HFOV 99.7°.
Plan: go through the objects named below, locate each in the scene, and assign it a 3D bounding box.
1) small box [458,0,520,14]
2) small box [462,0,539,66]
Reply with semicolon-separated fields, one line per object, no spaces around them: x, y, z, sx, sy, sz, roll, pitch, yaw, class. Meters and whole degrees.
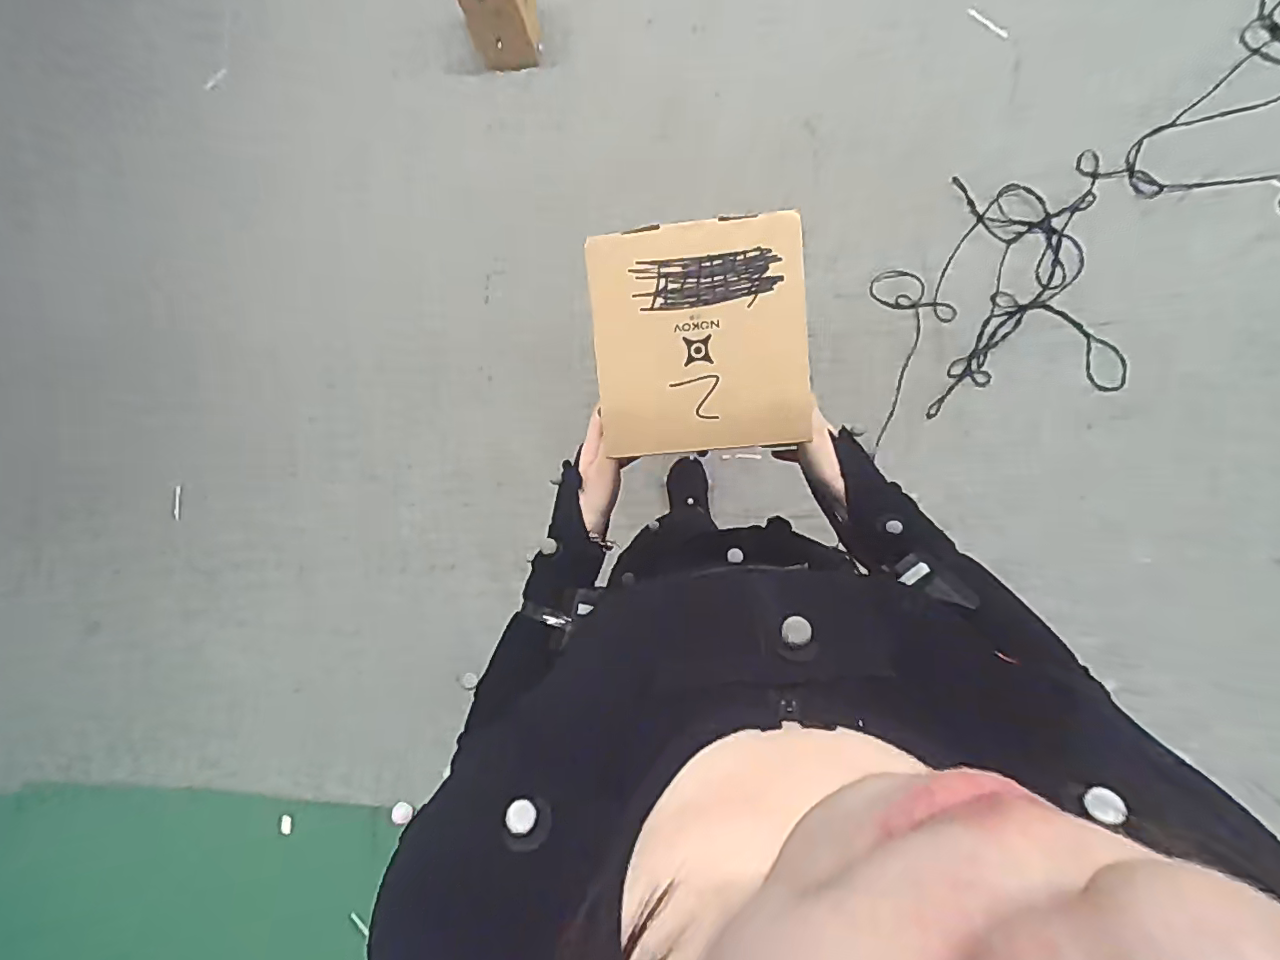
-0.416;-1.377;1.425;0.168;0.176;0.179;1;86;6;small box
-0.403;-1.363;1.588;0.179;0.176;0.168;0;86;8;small box
